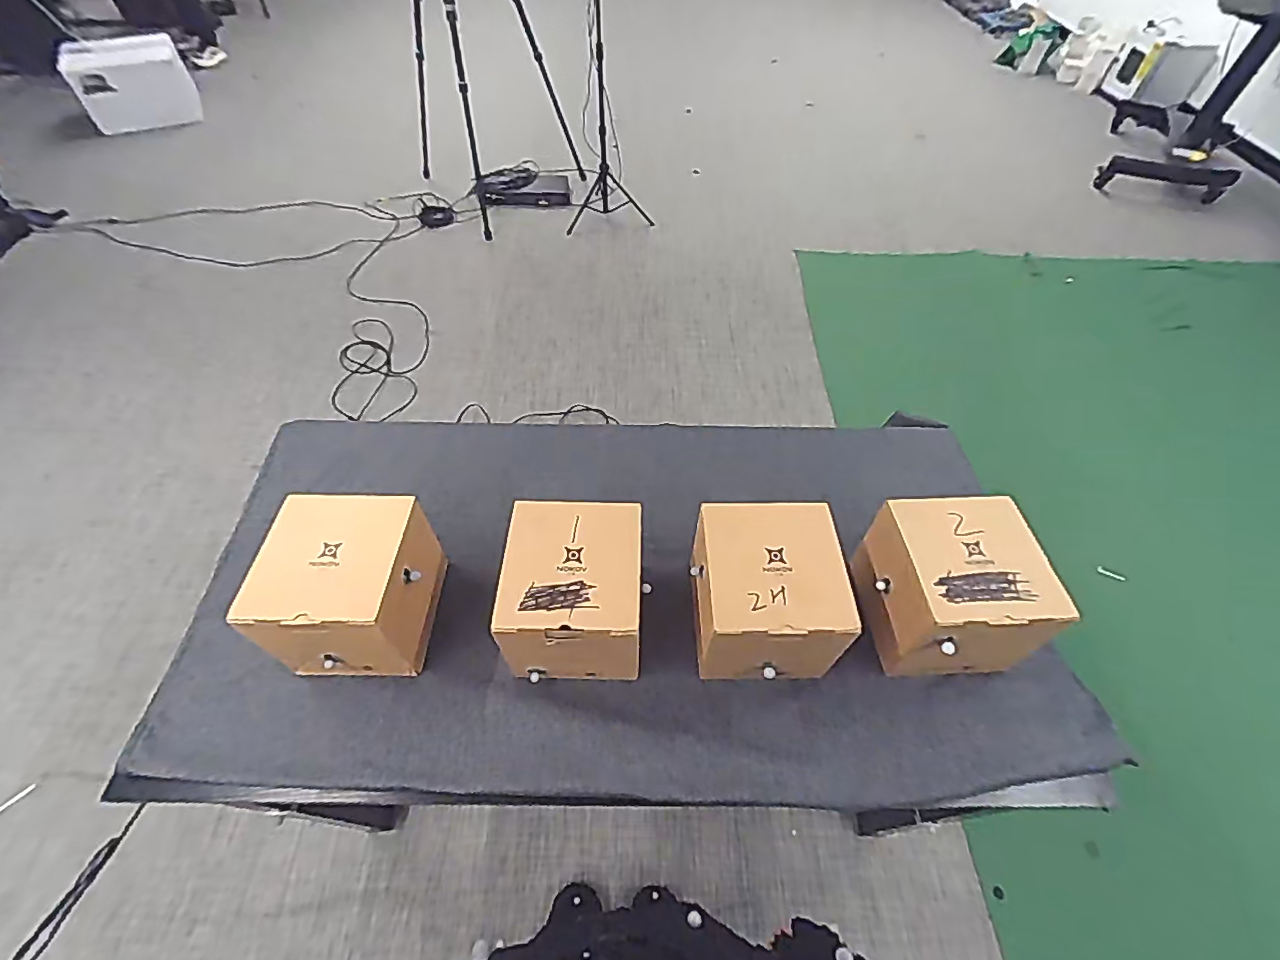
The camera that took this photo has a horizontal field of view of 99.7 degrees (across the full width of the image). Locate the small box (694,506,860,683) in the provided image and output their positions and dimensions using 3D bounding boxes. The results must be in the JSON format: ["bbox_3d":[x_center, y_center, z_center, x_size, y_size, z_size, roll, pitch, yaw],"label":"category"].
[{"bbox_3d":[0.162,0.152,0.709,0.168,0.176,0.179,-1,53,0],"label":"small box"}]

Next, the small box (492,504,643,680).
[{"bbox_3d":[-0.080,0.150,0.705,0.168,0.176,0.179,2,52,0],"label":"small box"}]

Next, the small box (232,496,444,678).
[{"bbox_3d":[-0.369,0.141,0.705,0.168,0.176,0.179,1,52,-1],"label":"small box"}]
